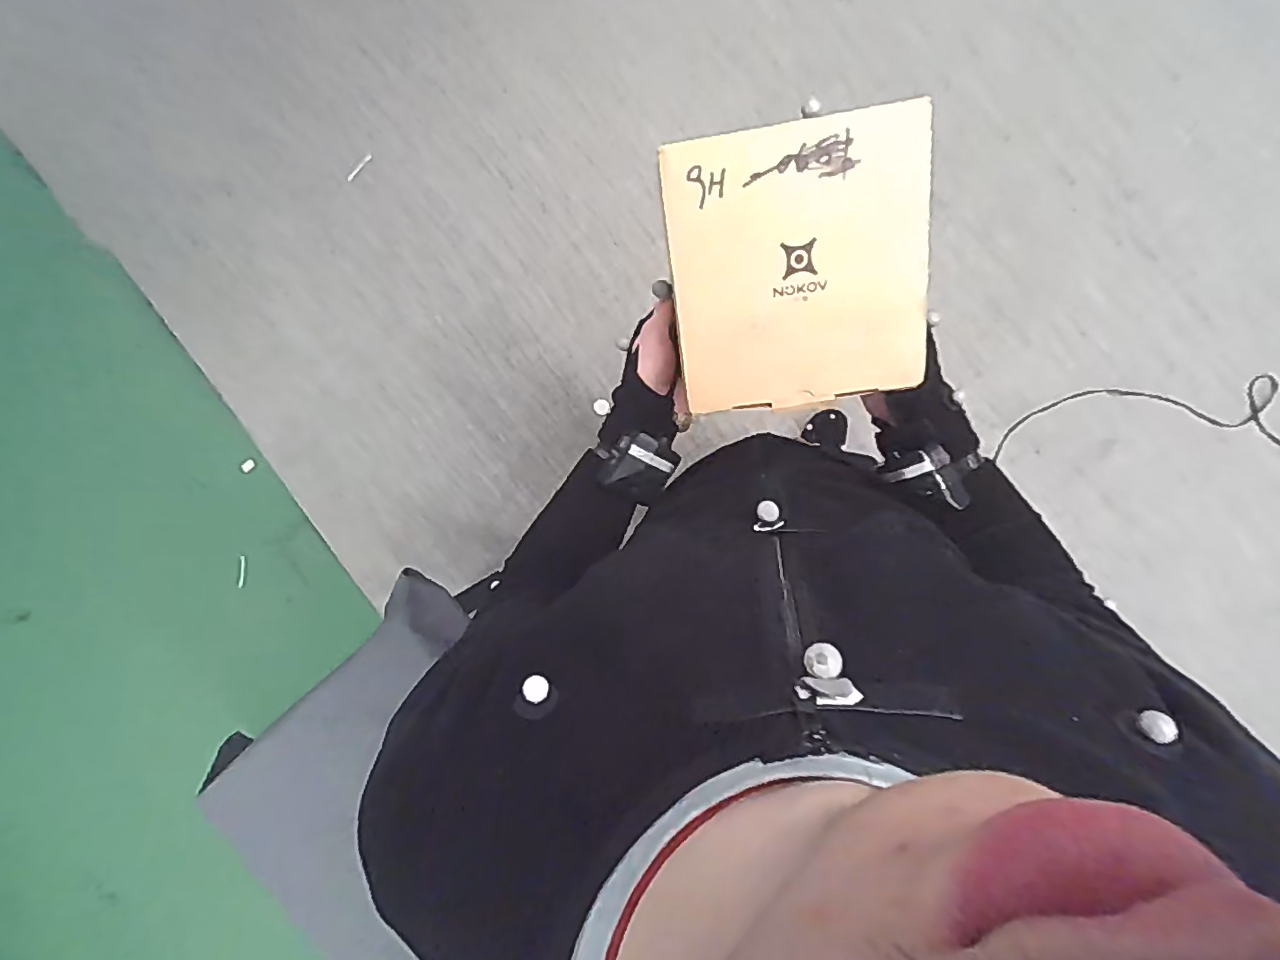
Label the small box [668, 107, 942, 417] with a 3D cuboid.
[{"bbox_3d":[0.114,-0.165,0.433,0.168,0.176,0.179,-7,111,5],"label":"small box"}]
